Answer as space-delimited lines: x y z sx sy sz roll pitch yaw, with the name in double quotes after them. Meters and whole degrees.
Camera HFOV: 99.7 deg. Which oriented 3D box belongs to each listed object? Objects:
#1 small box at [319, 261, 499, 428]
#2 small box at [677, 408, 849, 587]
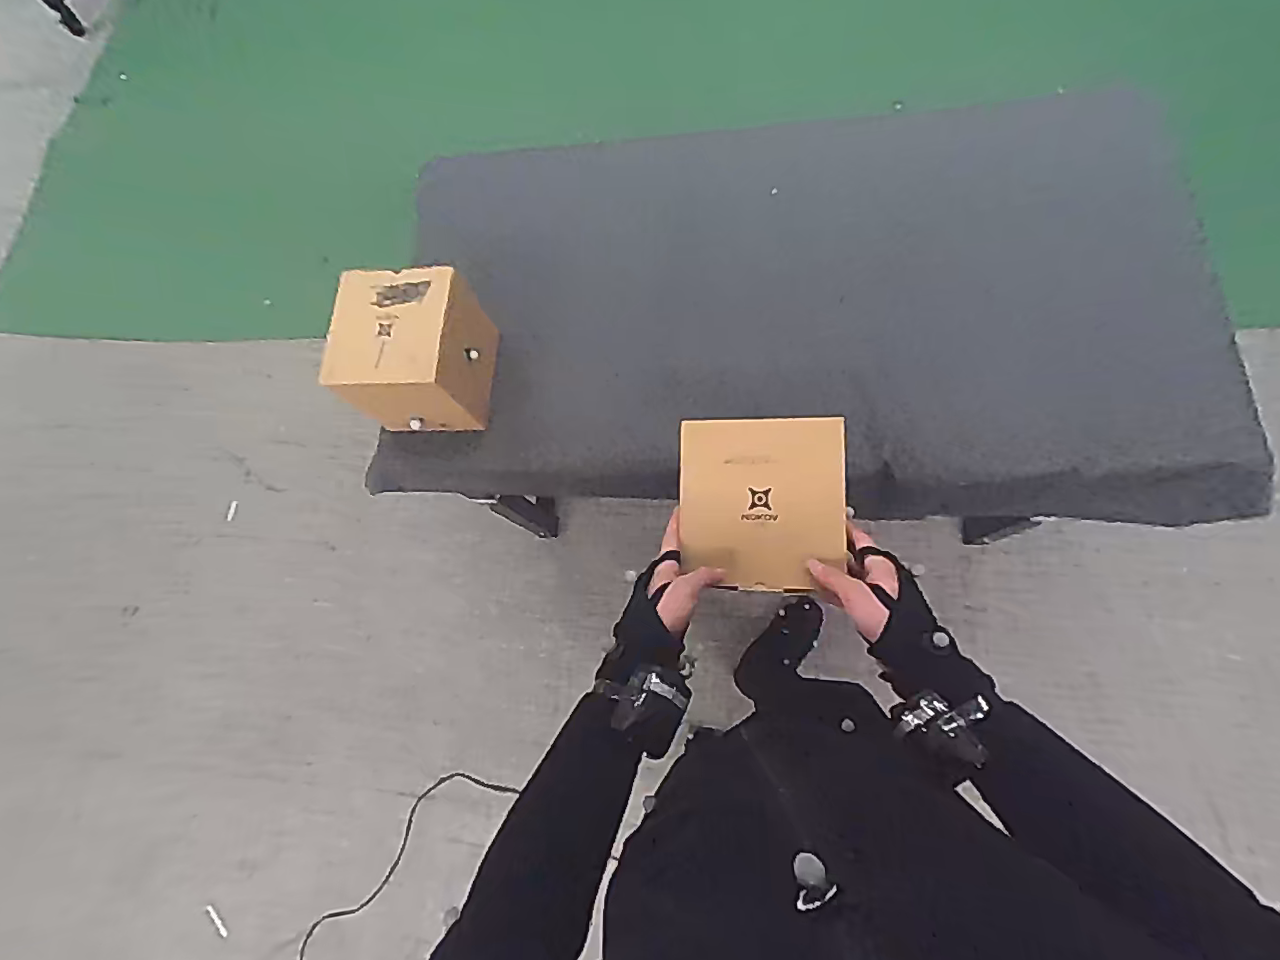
-0.318 -0.189 0.785 0.168 0.176 0.179 1 74 9 "small box"
0.135 0.027 0.610 0.168 0.176 0.179 0 80 11 "small box"
